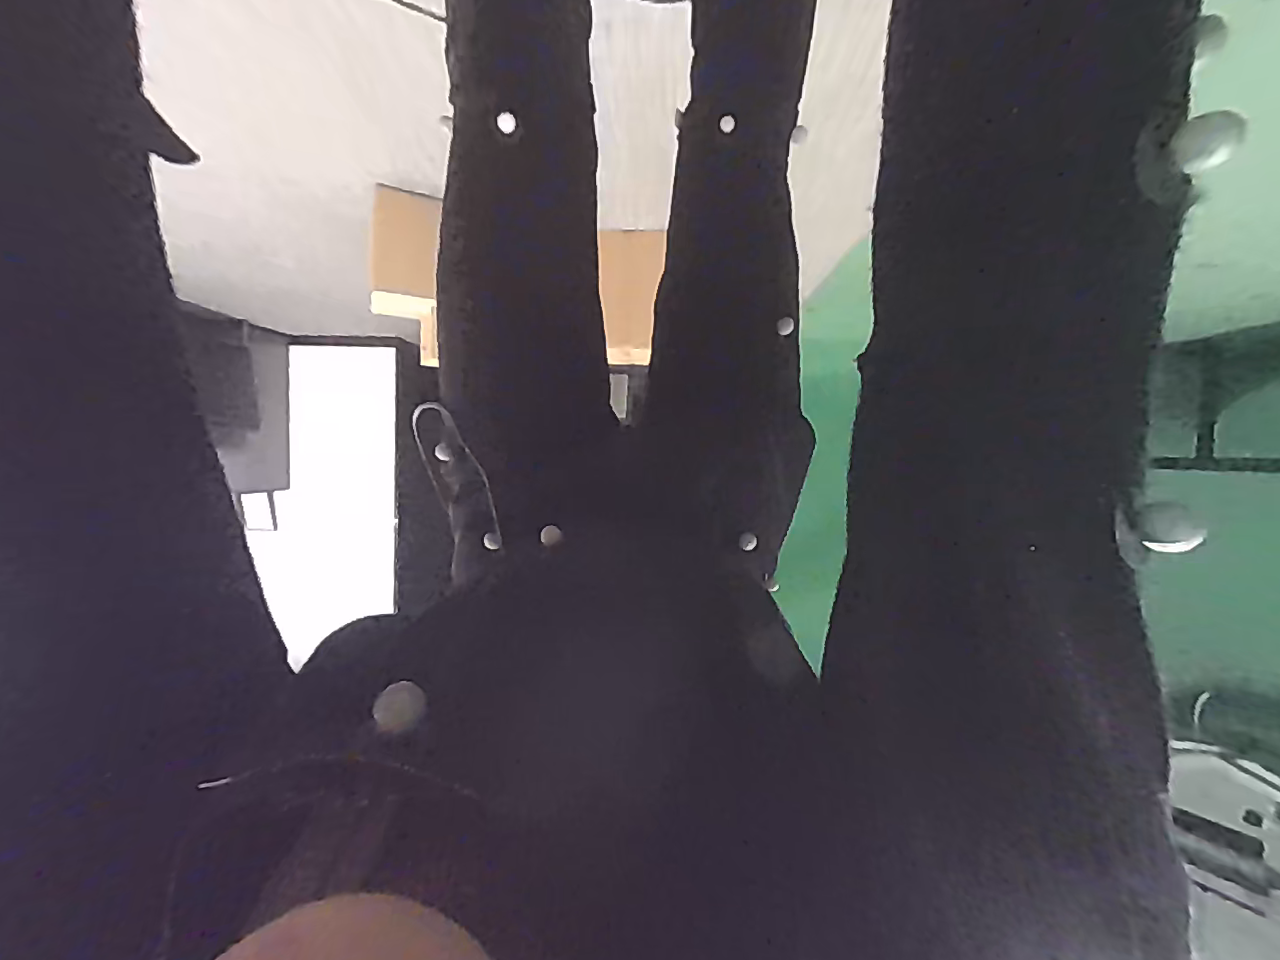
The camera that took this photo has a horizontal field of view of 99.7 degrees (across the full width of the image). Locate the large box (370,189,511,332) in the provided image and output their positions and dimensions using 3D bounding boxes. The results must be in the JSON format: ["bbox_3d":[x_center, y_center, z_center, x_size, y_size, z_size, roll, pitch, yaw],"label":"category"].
[{"bbox_3d":[-0.664,-0.701,1.791,0.408,0.320,0.320,2,-178,-28],"label":"large box"}]

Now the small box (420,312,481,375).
[{"bbox_3d":[-0.639,-0.458,1.829,0.168,0.176,0.179,1,-176,-32],"label":"small box"}]
